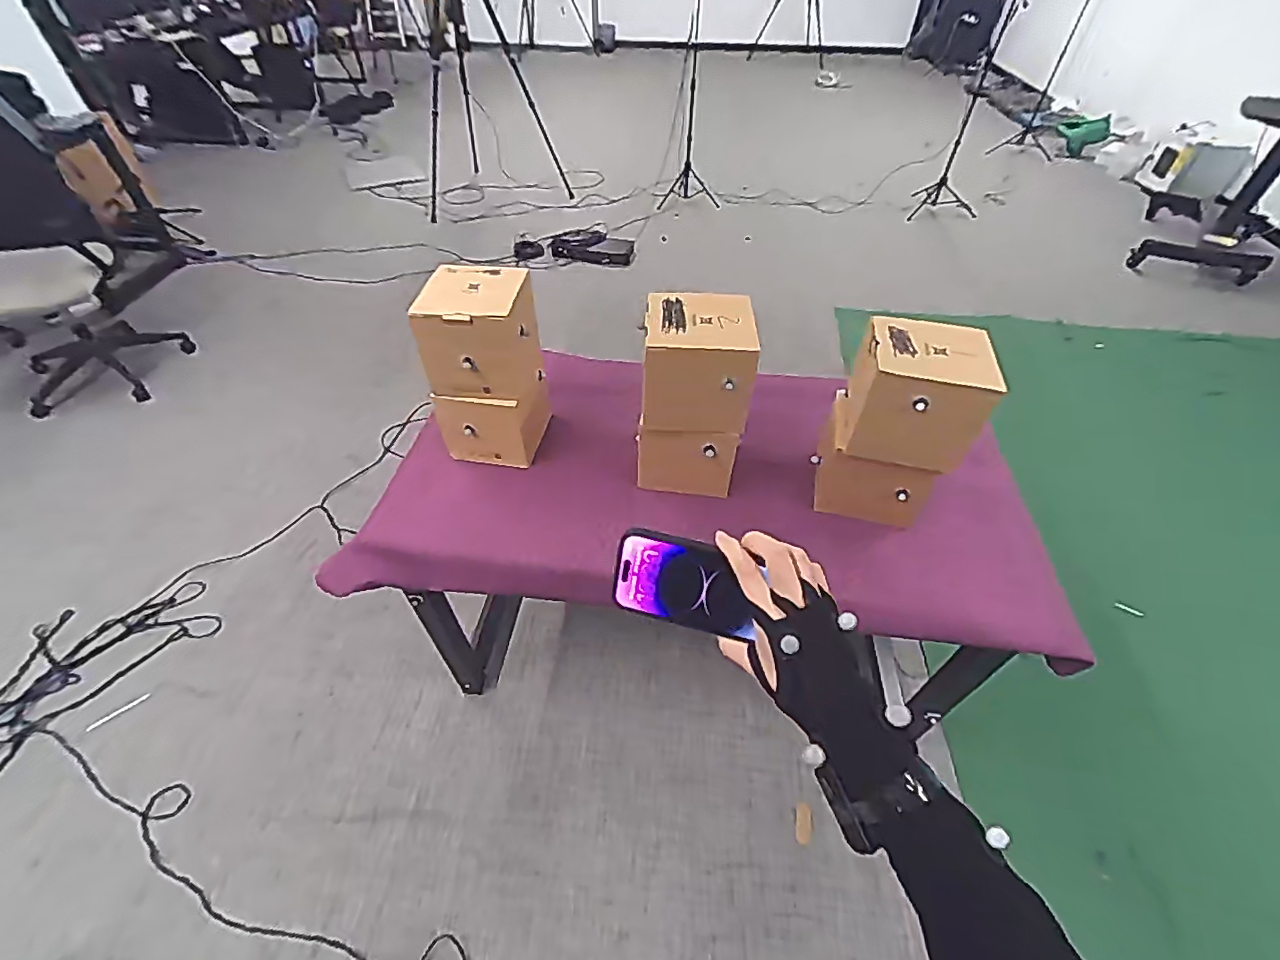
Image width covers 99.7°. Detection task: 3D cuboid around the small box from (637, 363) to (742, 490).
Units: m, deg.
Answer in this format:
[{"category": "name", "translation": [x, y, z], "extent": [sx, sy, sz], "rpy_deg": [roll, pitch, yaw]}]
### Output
[{"category": "small box", "translation": [0.093, -0.100, 1.040], "extent": [0.179, 0.176, 0.168], "rpy_deg": [7, 48, 6]}]

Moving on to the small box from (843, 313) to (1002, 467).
[{"category": "small box", "translation": [0.435, -0.141, 0.867], "extent": [0.179, 0.176, 0.168], "rpy_deg": [12, 48, 9]}]

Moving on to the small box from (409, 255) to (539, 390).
[{"category": "small box", "translation": [-0.285, -0.282, 0.976], "extent": [0.168, 0.176, 0.179], "rpy_deg": [5, 49, 2]}]

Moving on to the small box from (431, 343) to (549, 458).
[{"category": "small box", "translation": [-0.289, -0.165, 1.092], "extent": [0.168, 0.176, 0.179], "rpy_deg": [8, 48, 6]}]

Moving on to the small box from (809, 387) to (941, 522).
[{"category": "small box", "translation": [0.426, -0.044, 0.999], "extent": [0.179, 0.176, 0.168], "rpy_deg": [12, 48, 10]}]
